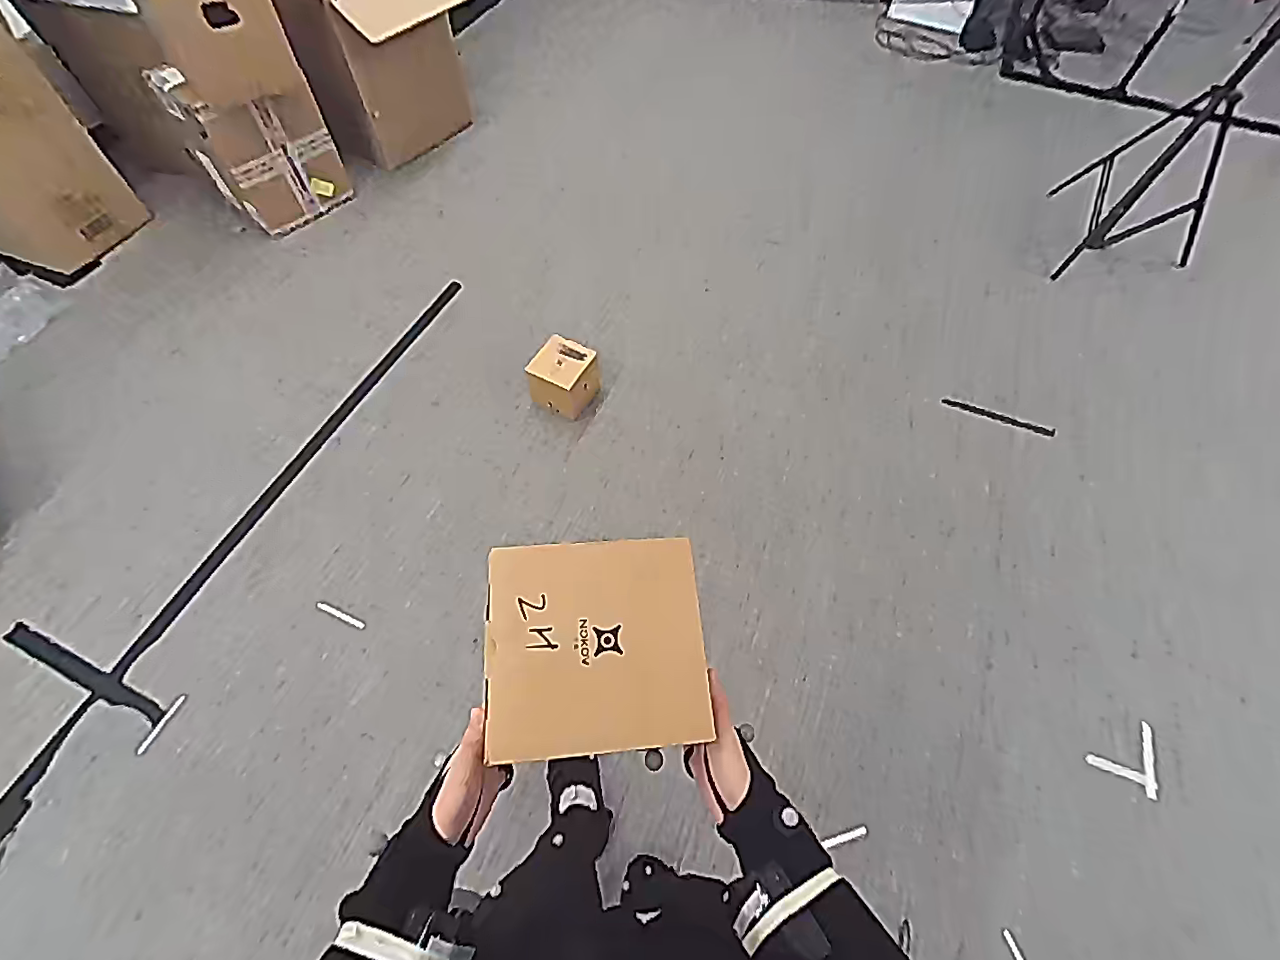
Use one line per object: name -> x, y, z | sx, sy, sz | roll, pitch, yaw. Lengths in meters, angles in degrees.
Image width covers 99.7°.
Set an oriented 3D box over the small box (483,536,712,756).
small box -> -0.044, 0.157, 0.510 | 0.179, 0.176, 0.168 | -2, 66, -7
